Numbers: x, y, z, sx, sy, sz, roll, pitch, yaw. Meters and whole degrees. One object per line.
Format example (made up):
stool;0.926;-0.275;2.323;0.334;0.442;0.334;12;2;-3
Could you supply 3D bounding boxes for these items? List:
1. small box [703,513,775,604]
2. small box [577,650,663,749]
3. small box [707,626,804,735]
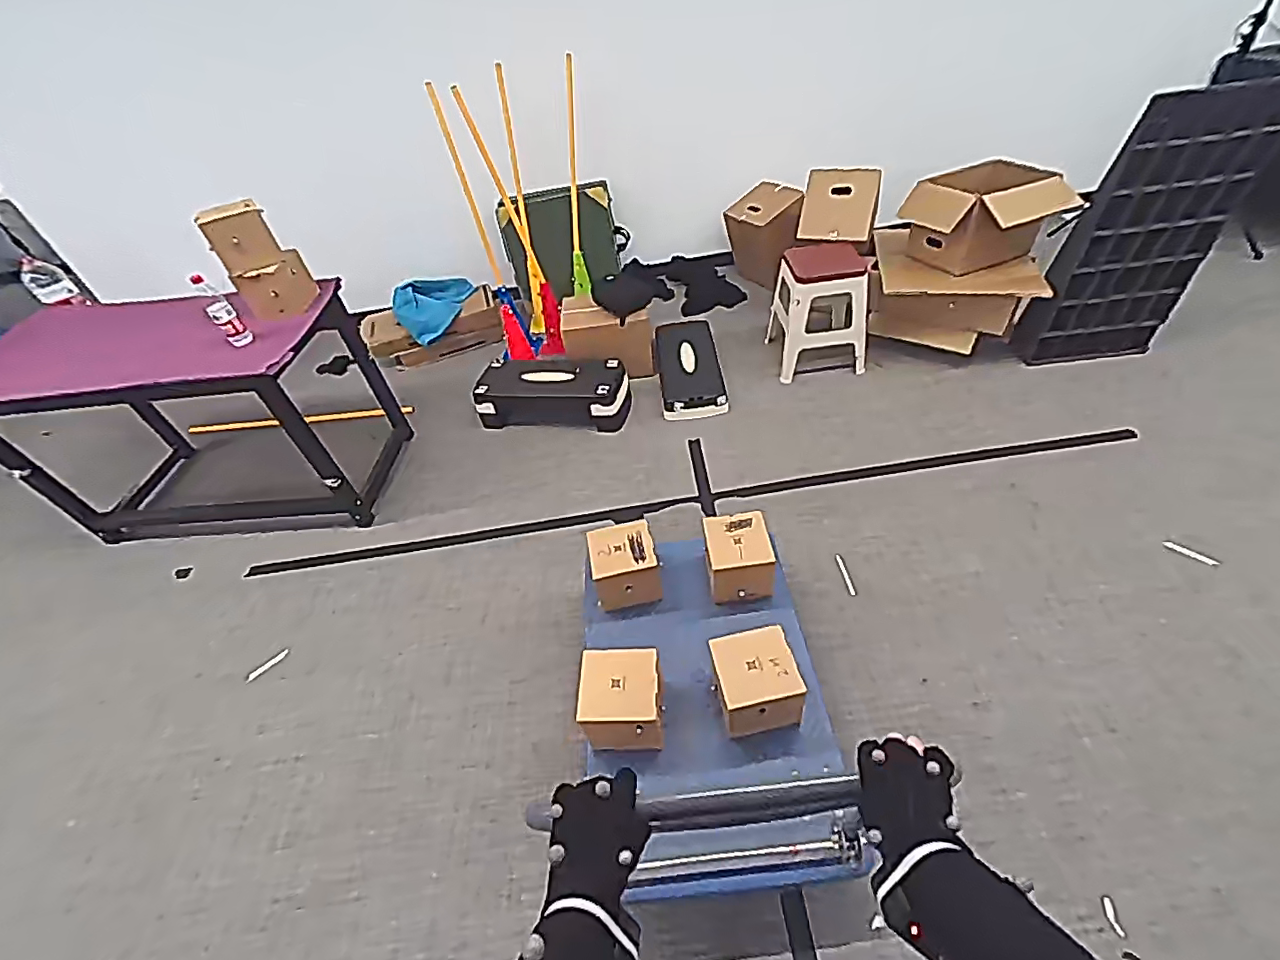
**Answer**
small box;0.268;0.219;1.503;0.168;0.176;0.179;-8;46;2
small box;-0.039;0.515;1.263;0.179;0.176;0.168;-3;45;5
small box;0.264;0.470;1.255;0.179;0.176;0.168;-12;45;-2
